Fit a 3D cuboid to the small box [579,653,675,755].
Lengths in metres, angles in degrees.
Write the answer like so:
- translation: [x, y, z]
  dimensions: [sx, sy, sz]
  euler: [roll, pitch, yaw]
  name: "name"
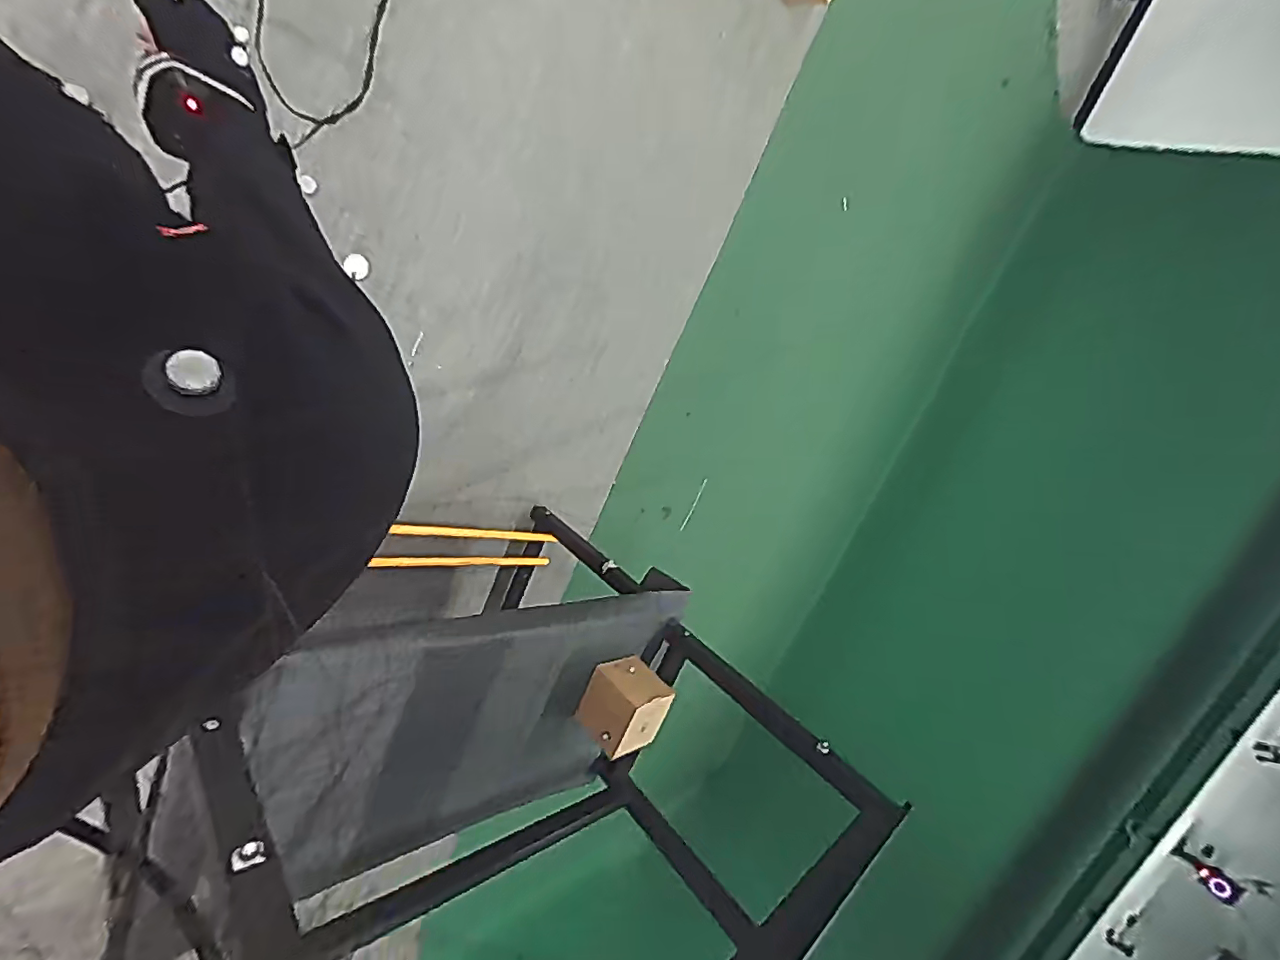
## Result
- translation: [-0.042, 0.606, 1.483]
  dimensions: [0.168, 0.176, 0.179]
  euler: [7, 111, -50]
  name: "small box"
